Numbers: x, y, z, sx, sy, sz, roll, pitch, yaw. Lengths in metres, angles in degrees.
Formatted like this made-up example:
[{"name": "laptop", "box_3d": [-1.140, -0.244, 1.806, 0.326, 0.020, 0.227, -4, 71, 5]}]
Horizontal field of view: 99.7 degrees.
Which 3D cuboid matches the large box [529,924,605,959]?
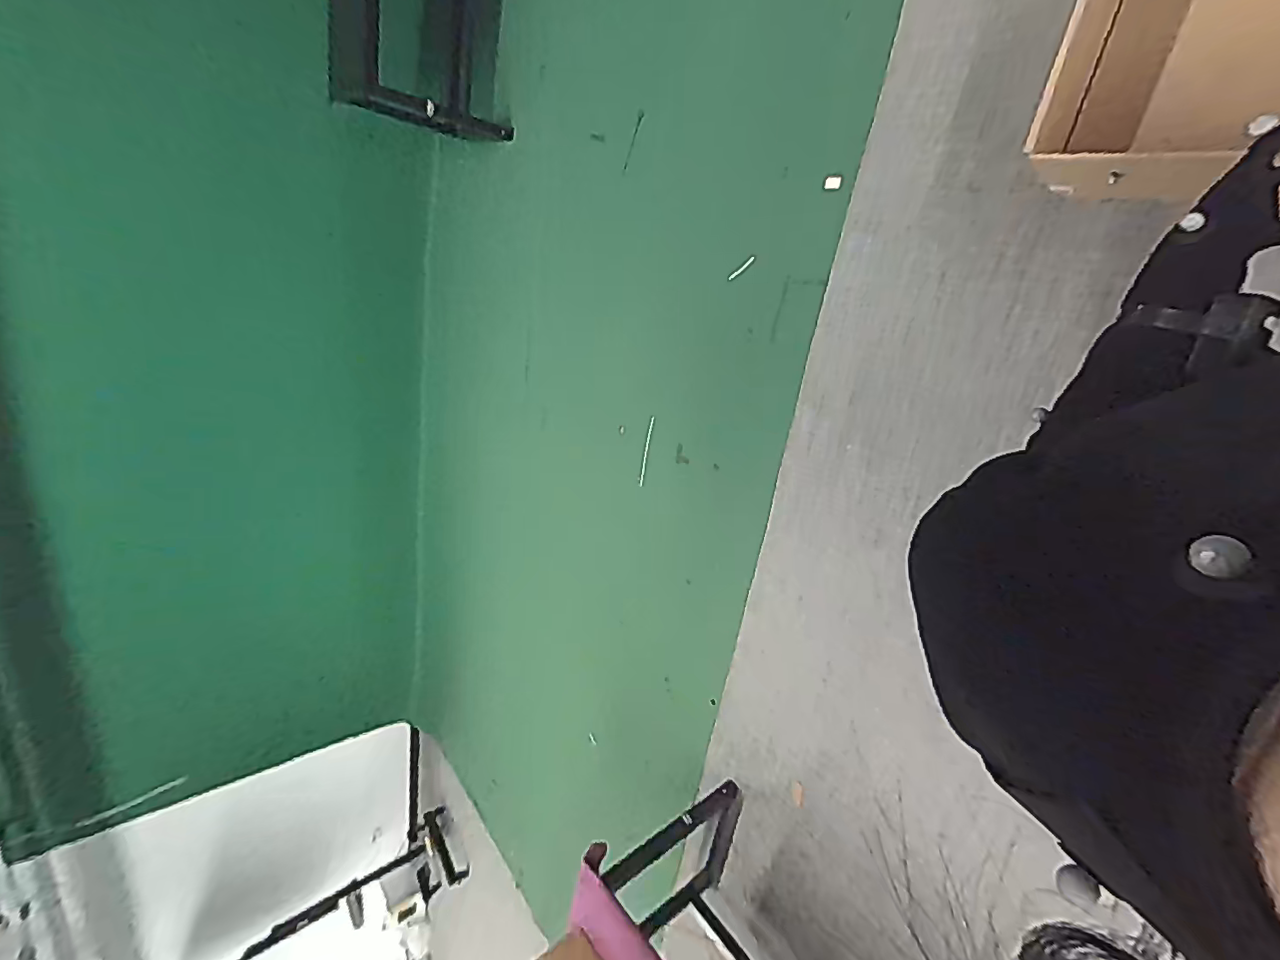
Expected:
[{"name": "large box", "box_3d": [-0.234, 1.605, 1.522, 0.320, 0.320, 0.408, 28, 115, 41]}]
